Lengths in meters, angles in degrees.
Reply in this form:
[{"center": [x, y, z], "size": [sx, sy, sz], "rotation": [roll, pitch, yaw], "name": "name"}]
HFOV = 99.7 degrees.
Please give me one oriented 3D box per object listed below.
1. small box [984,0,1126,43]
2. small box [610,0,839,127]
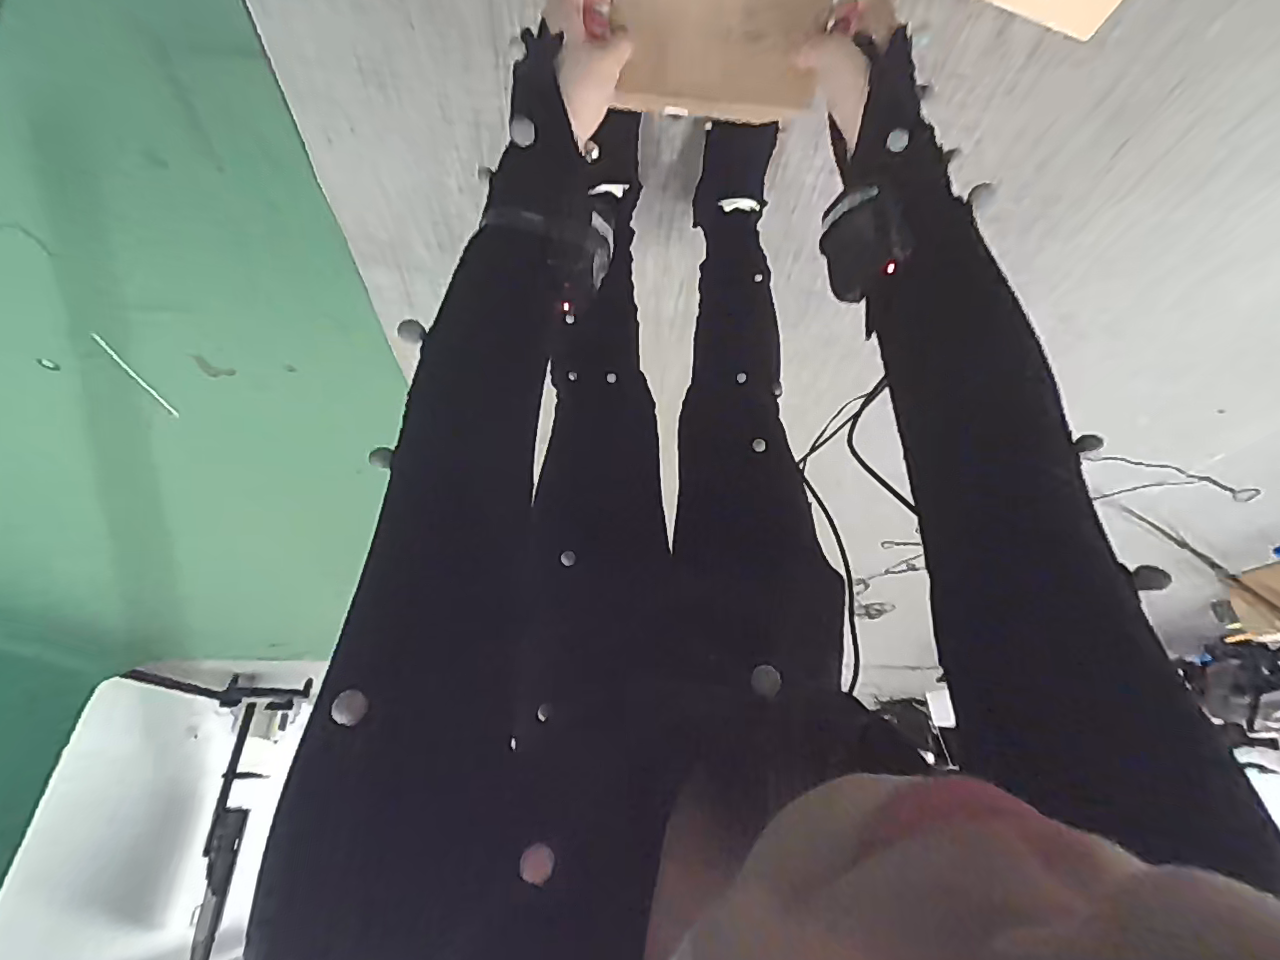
[{"center": [0.466, -0.630, 0.580], "size": [0.168, 0.176, 0.179], "rotation": [7, 149, -13], "name": "small box"}, {"center": [0.061, -0.409, 0.450], "size": [0.168, 0.176, 0.179], "rotation": [2, 121, -5], "name": "small box"}]
